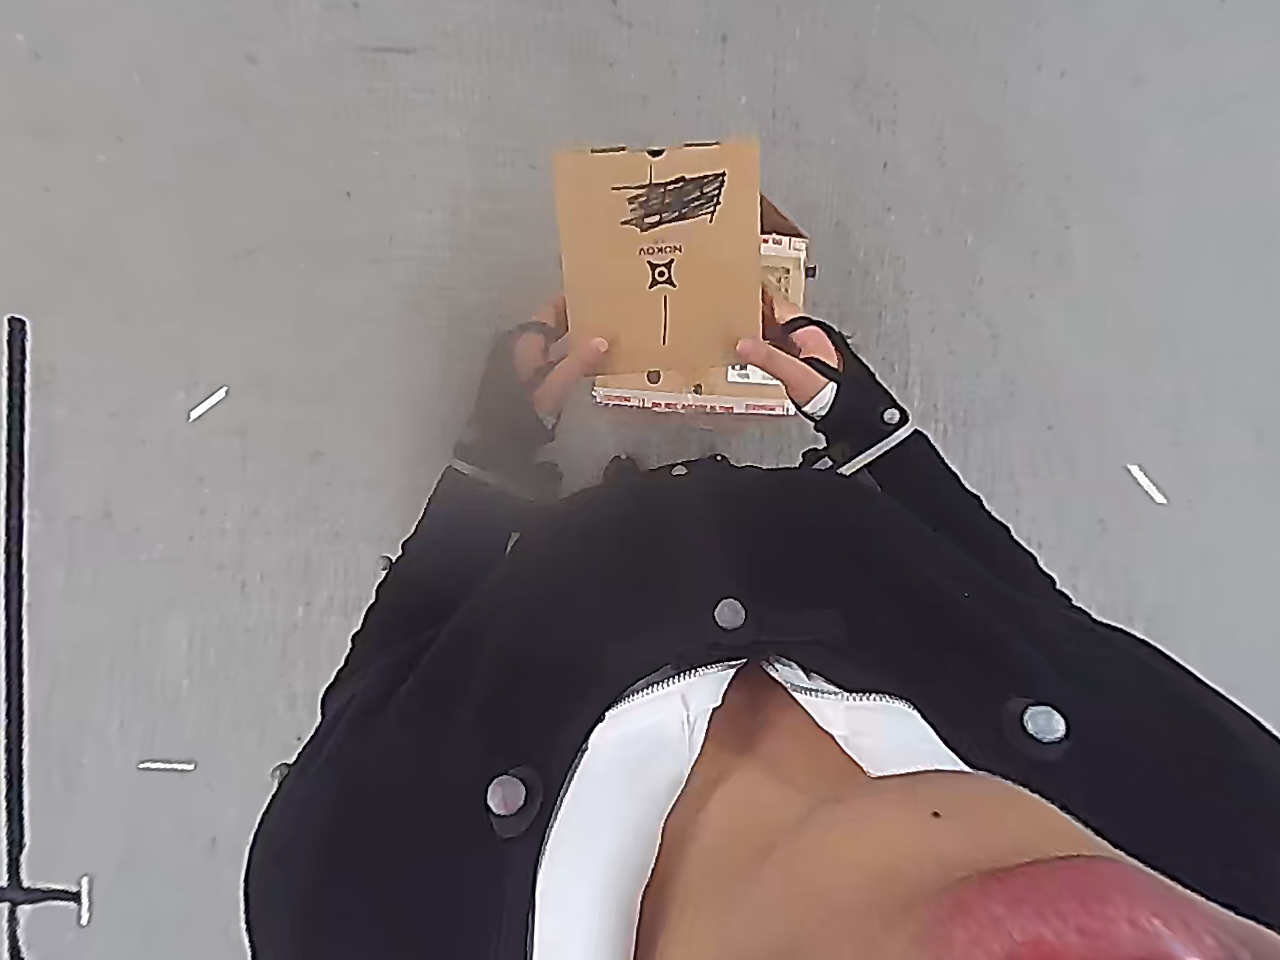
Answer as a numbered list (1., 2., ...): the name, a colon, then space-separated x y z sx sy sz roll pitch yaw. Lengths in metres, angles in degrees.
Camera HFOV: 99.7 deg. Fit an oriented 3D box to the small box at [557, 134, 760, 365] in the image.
1. small box: 0.014 -0.205 0.525 0.168 0.176 0.179 -4 104 -1
